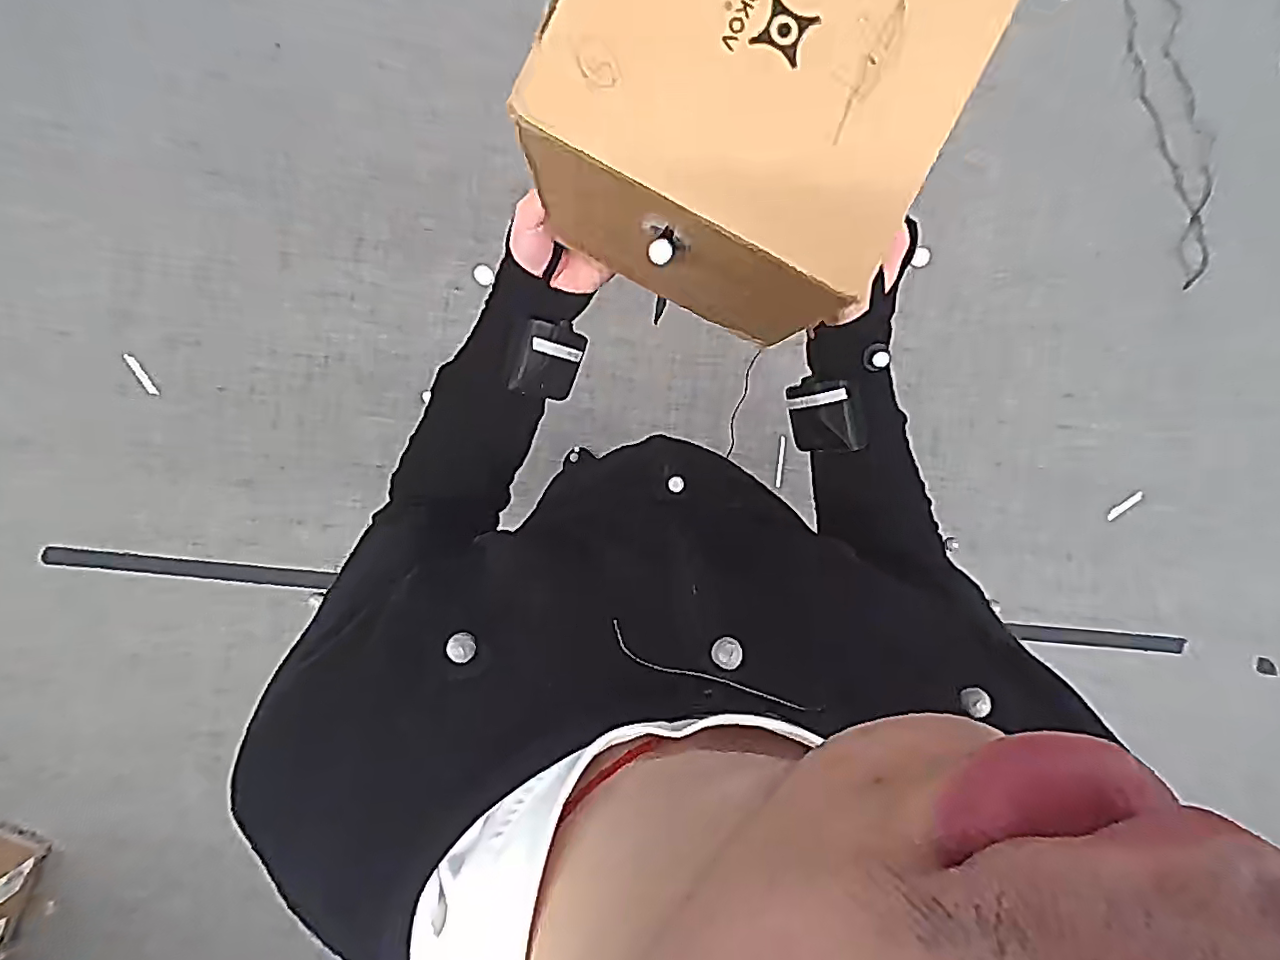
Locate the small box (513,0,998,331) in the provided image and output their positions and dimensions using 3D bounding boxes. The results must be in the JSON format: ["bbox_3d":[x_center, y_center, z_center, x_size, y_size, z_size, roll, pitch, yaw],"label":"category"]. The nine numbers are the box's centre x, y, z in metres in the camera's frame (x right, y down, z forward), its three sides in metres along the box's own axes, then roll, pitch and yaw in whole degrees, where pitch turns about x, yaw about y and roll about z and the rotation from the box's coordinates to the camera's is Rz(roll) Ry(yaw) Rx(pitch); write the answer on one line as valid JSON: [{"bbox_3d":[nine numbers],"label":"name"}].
[{"bbox_3d":[0.052,-0.204,0.315,0.179,0.176,0.168,25,94,-5],"label":"small box"}]
